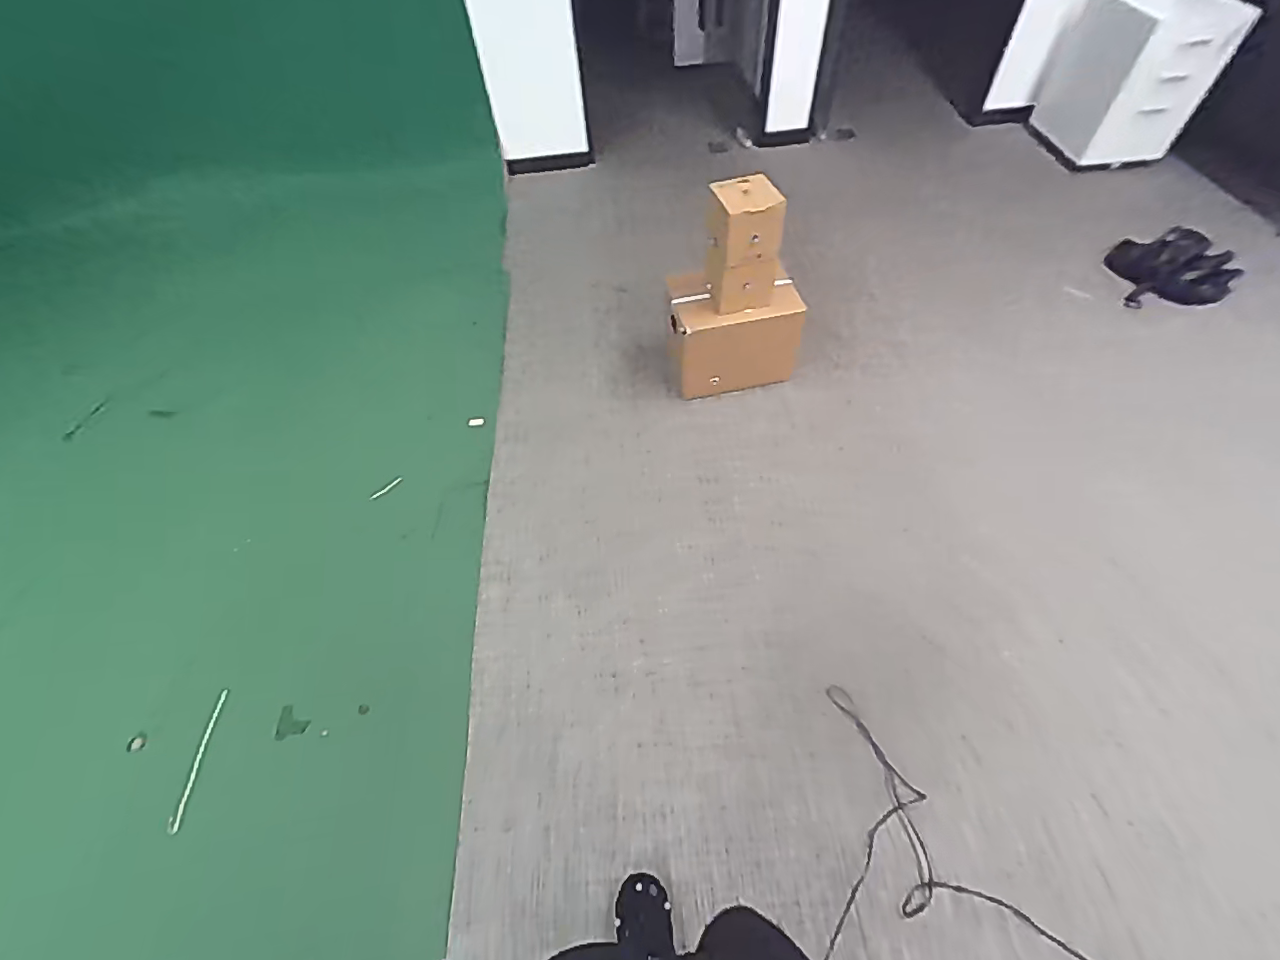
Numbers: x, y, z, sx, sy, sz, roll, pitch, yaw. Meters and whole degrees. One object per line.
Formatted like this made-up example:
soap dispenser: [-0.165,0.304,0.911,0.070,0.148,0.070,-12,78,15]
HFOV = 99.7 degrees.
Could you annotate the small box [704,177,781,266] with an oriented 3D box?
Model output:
small box: [0.291,-0.742,1.570,0.168,0.176,0.179,-14,55,-6]

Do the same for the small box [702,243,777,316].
small box: [0.306,-0.643,1.699,0.179,0.176,0.168,-15,55,-8]
